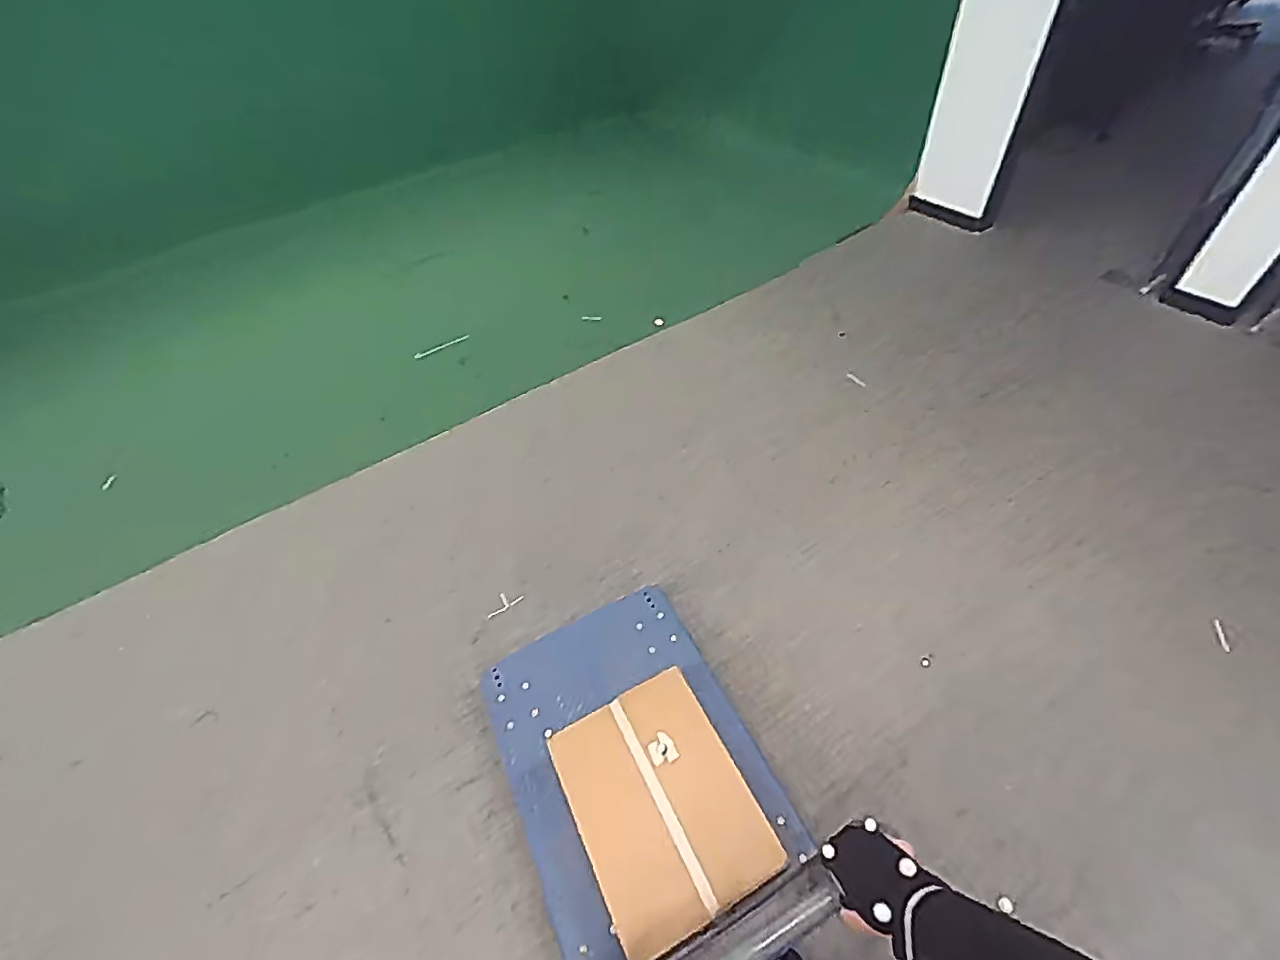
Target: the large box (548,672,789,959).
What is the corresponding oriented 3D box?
[{"bbox_3d":[0.054,0.699,1.129,0.320,0.320,0.408,-25,50,-14],"label":"large box"}]
